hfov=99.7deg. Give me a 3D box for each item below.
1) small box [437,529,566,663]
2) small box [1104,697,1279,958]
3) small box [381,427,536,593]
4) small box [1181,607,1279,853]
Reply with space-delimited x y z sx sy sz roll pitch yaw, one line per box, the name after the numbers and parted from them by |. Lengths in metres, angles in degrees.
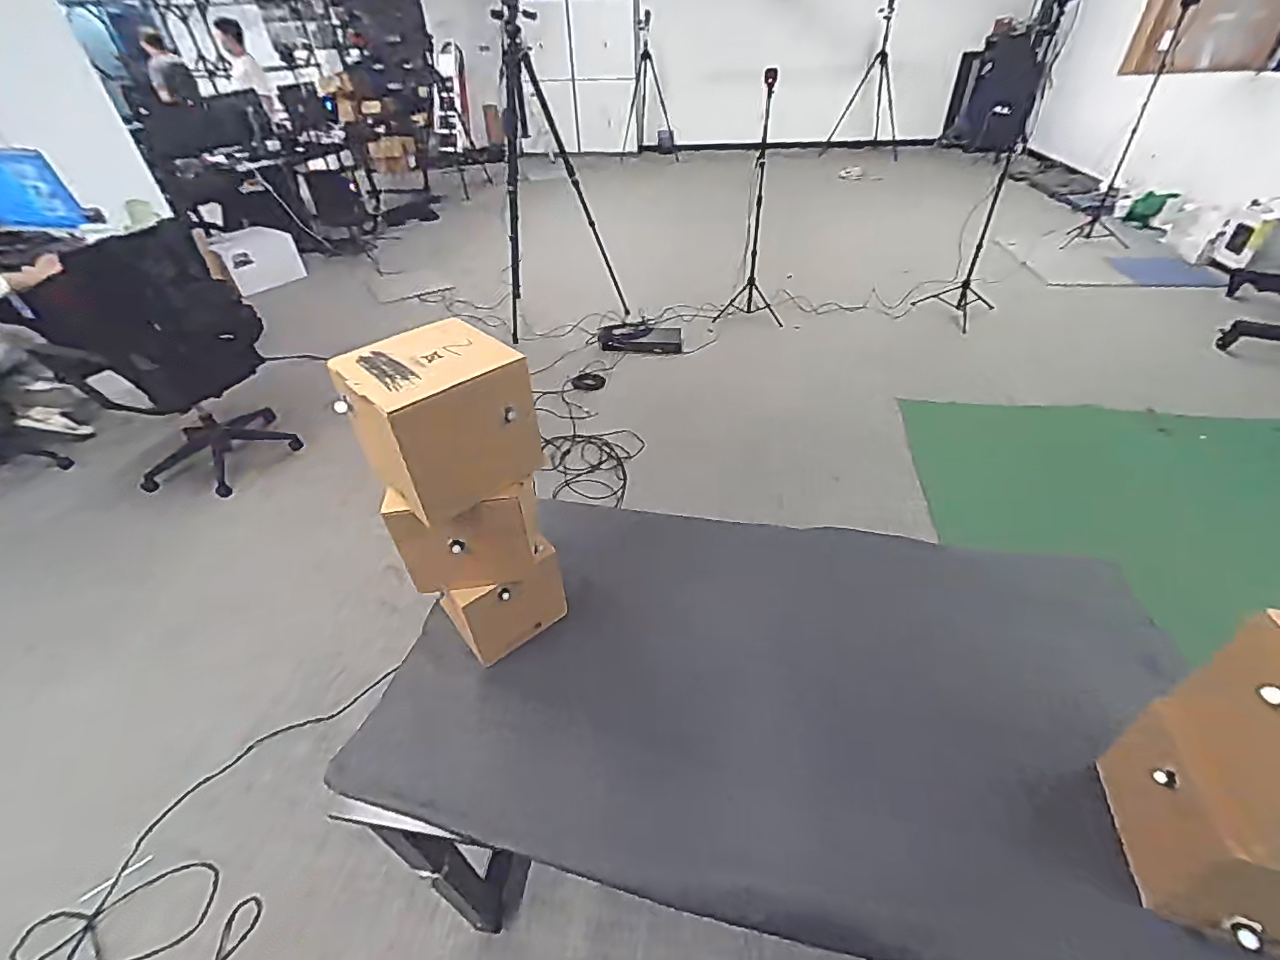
-0.244 0.168 0.910 0.168 0.176 0.179 -30 47 -28 | small box
0.659 0.379 0.591 0.168 0.176 0.179 9 39 17 | small box
-0.251 0.045 0.801 0.179 0.176 0.168 -8 41 -5 | small box
0.667 0.250 0.492 0.168 0.176 0.179 8 37 15 | small box
